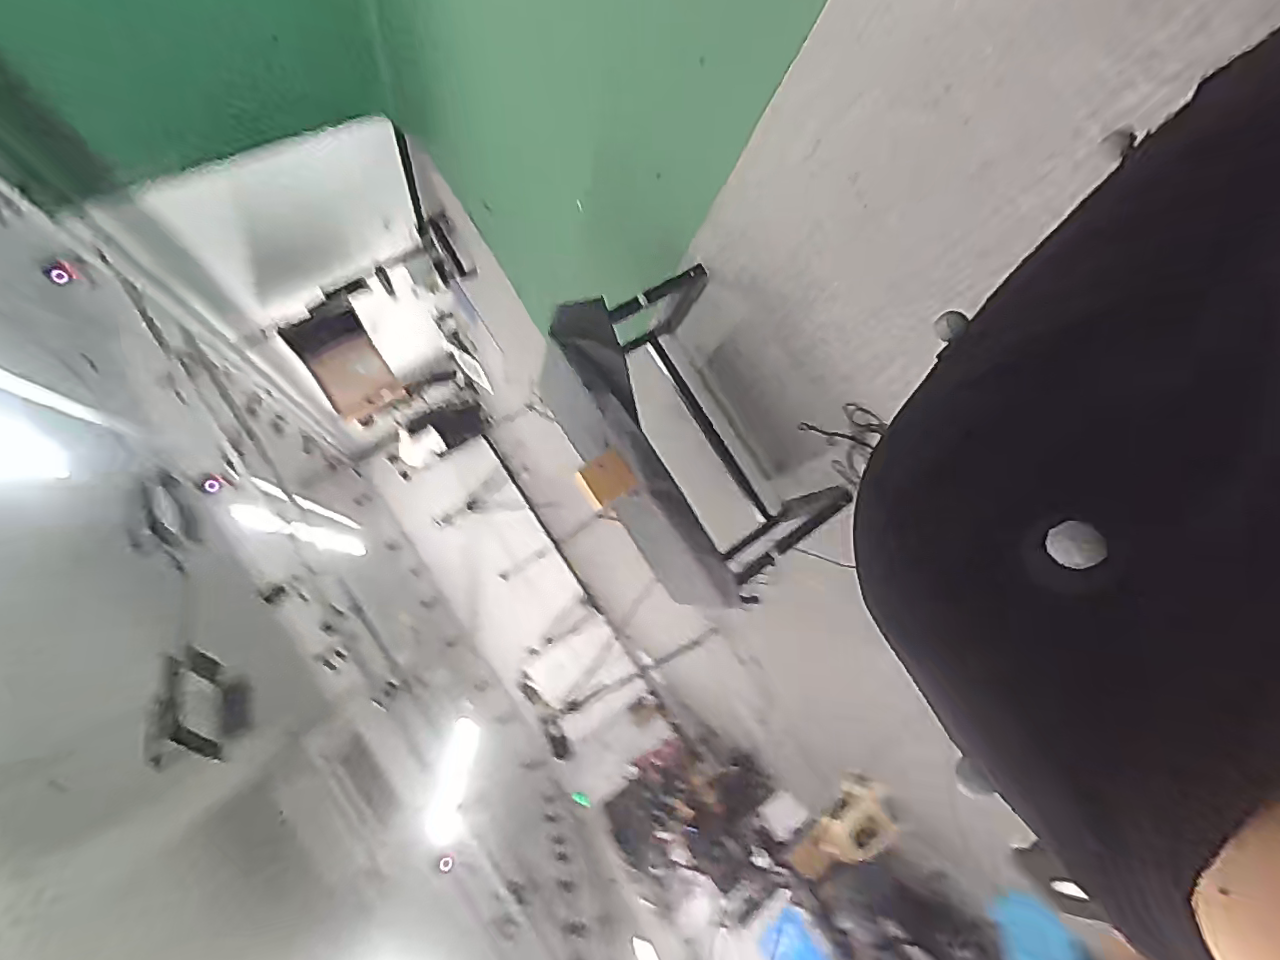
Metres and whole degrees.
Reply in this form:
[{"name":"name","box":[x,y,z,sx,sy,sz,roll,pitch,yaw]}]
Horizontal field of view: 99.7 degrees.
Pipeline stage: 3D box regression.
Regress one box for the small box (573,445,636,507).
[{"name":"small box","box":[-0.140,-0.020,2.120,0.179,0.176,0.168,56,164,1]}]
